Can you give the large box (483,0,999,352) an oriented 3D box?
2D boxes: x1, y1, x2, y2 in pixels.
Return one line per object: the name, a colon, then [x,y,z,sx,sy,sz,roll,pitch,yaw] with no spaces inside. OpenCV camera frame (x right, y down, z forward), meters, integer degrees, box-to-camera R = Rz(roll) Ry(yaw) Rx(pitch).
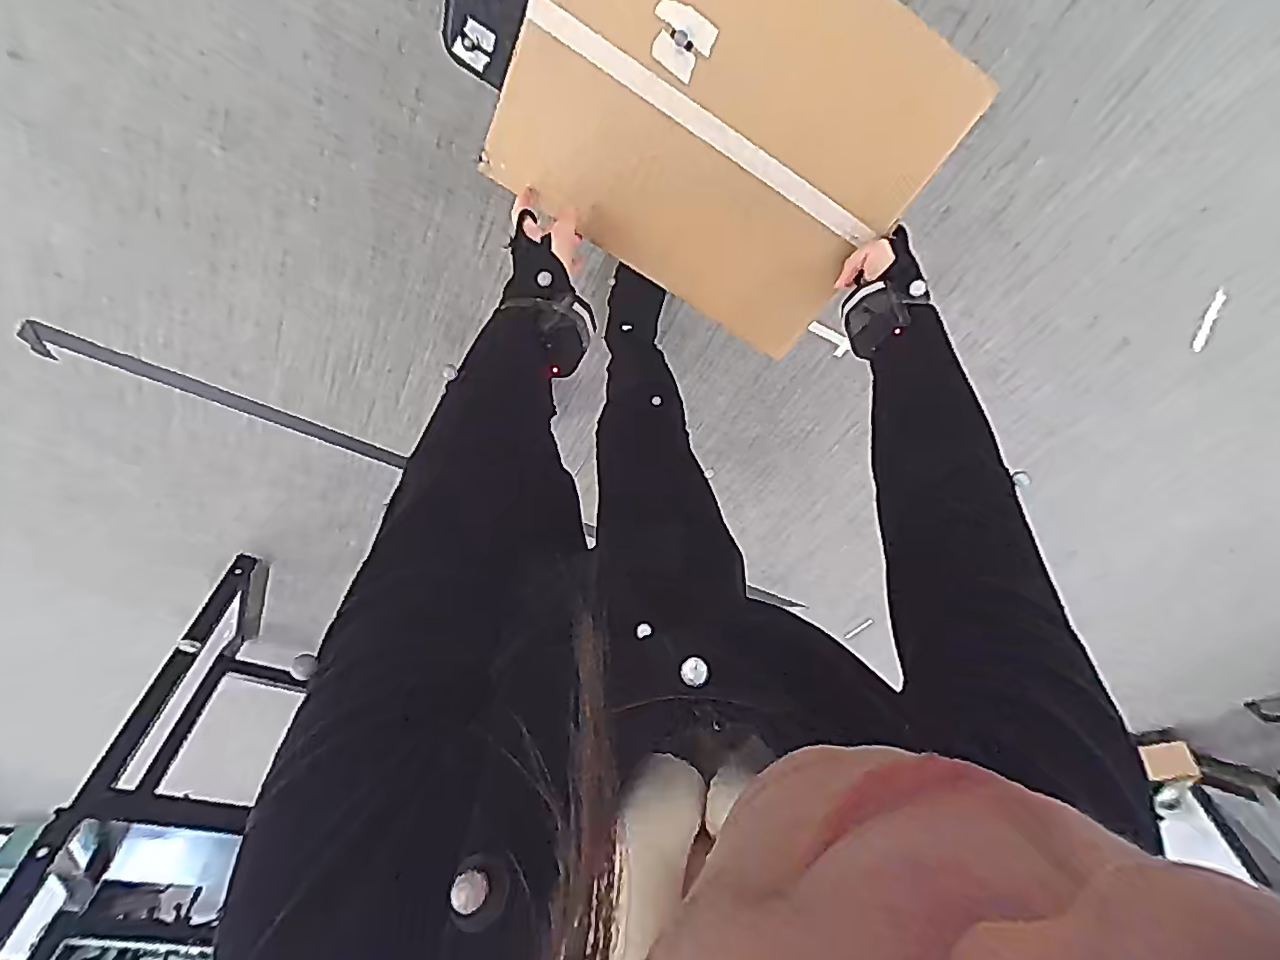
large box: [0.098,-0.428,0.641,0.408,0.320,0.320,29,126,-11]
